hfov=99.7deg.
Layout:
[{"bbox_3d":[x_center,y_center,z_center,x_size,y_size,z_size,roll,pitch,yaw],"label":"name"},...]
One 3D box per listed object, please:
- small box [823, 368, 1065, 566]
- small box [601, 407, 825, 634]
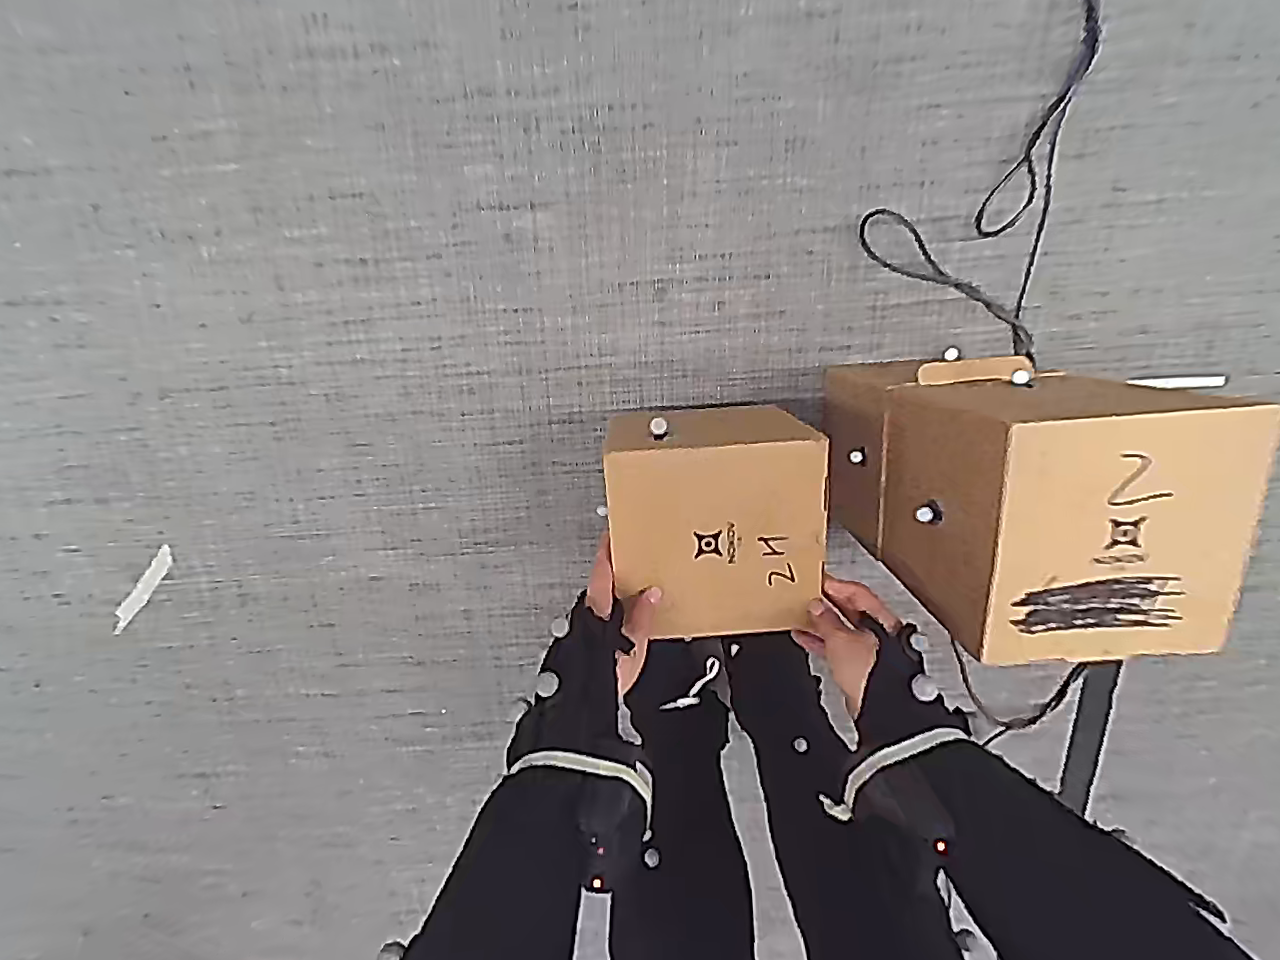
[{"bbox_3d":[0.306,-0.026,0.585,0.168,0.176,0.179,-5,107,1],"label":"small box"},{"bbox_3d":[0.059,0.027,0.516,0.179,0.176,0.168,-4,108,-1],"label":"small box"}]
